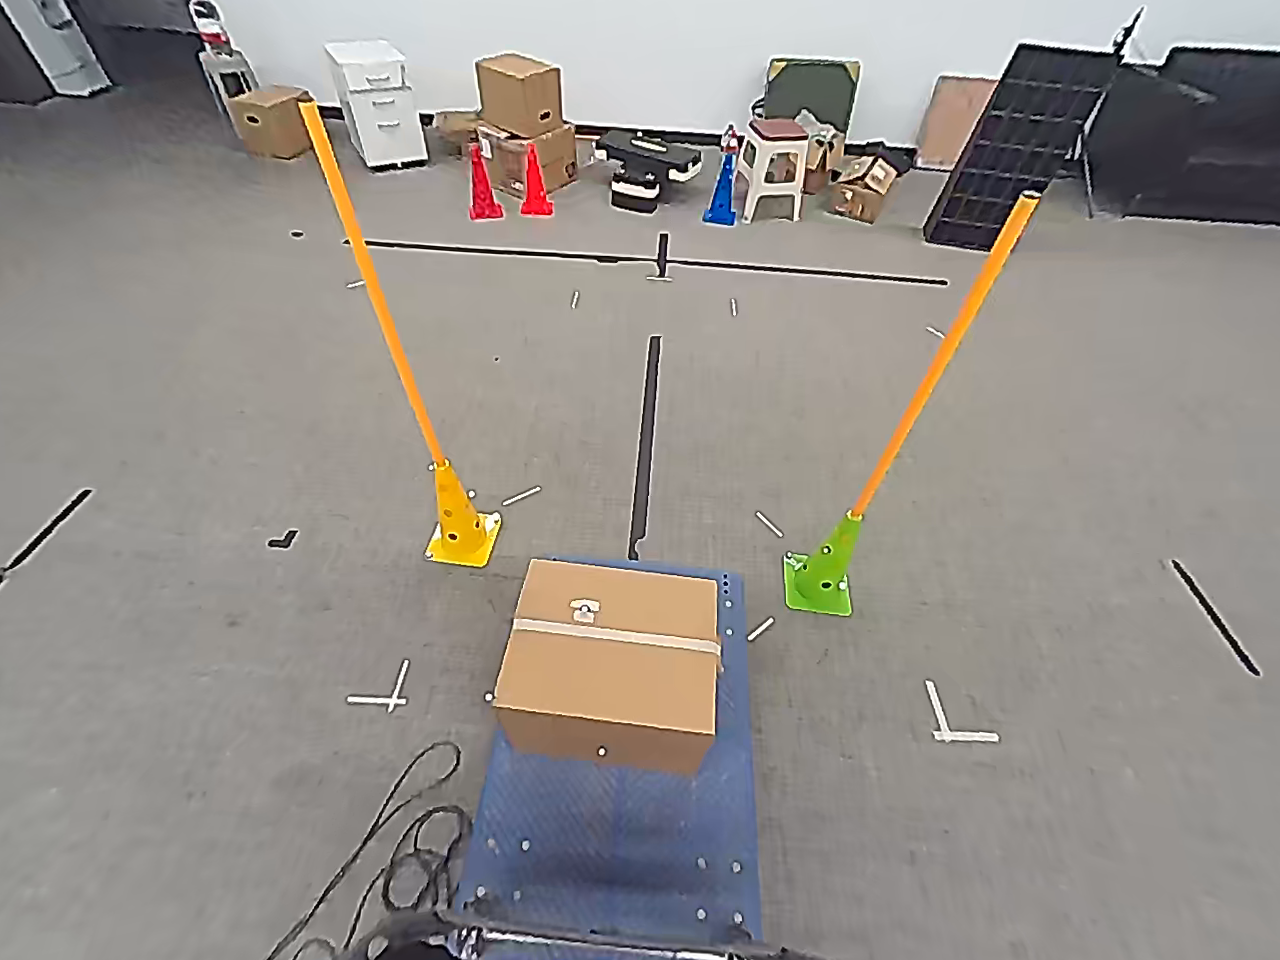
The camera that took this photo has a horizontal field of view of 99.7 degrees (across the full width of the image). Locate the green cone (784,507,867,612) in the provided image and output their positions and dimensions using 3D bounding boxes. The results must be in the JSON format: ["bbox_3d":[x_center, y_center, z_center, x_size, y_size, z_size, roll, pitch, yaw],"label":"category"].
[{"bbox_3d":[0.569,0.206,1.579,0.202,0.368,0.200,9,49,2],"label":"green cone"}]

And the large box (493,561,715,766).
[{"bbox_3d":[-0.057,0.403,1.175,0.408,0.320,0.320,7,50,3],"label":"large box"}]
